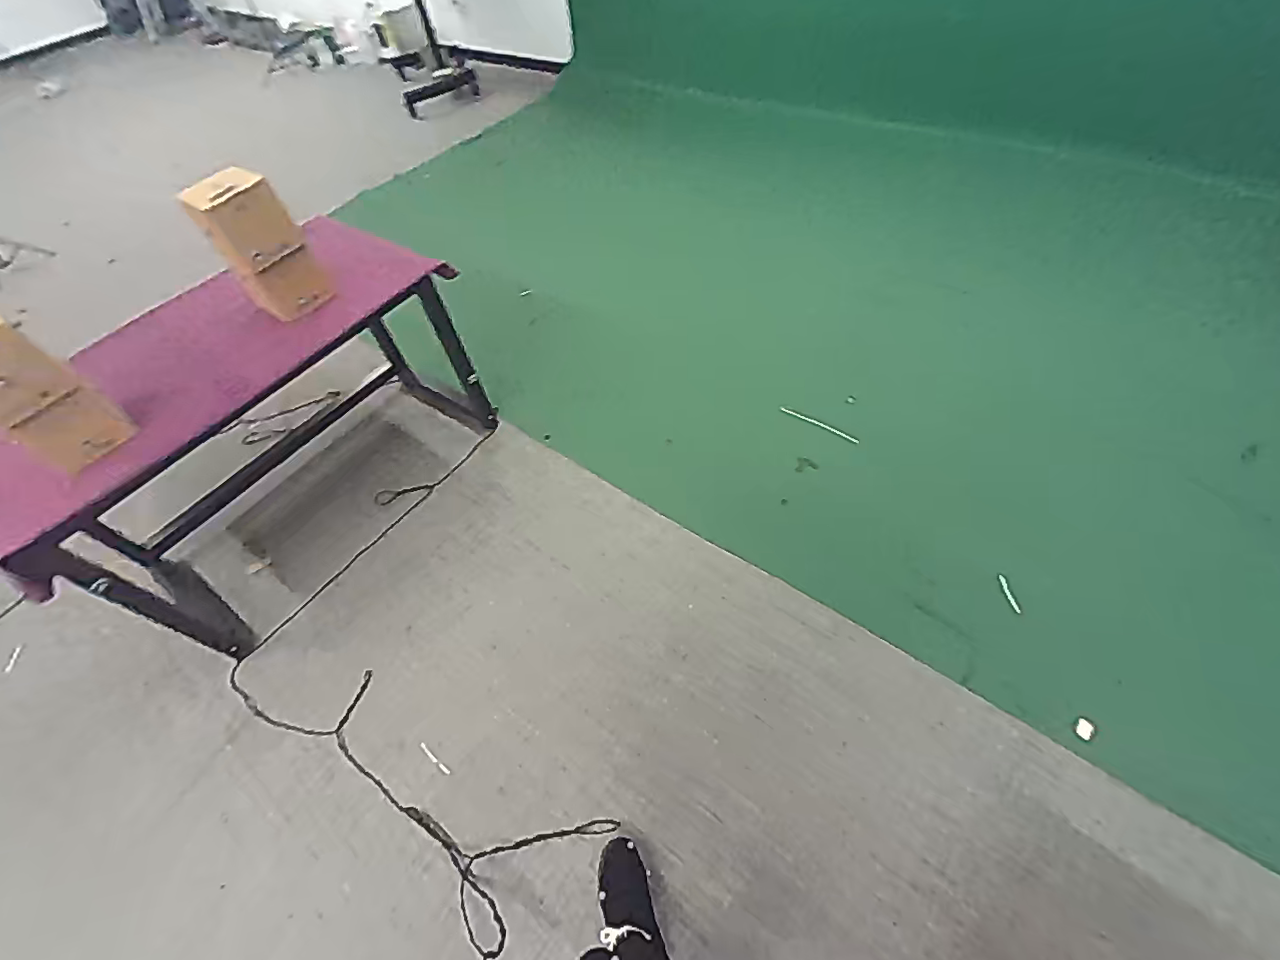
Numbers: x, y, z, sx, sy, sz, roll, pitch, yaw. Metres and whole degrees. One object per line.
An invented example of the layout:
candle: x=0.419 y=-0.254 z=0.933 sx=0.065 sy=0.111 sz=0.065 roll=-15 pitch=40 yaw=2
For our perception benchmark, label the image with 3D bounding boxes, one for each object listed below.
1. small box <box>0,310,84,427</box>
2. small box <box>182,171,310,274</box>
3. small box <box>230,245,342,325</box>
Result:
small box: x=-1.319 y=-0.234 z=1.111 sx=0.179 sy=0.176 sz=0.168 roll=29 pitch=61 yaw=24
small box: x=-0.996 y=-0.653 z=1.382 sx=0.179 sy=0.176 sz=0.168 roll=28 pitch=63 yaw=27
small box: x=-0.991 y=-0.566 z=1.522 sx=0.179 sy=0.176 sz=0.168 roll=31 pitch=64 yaw=26
